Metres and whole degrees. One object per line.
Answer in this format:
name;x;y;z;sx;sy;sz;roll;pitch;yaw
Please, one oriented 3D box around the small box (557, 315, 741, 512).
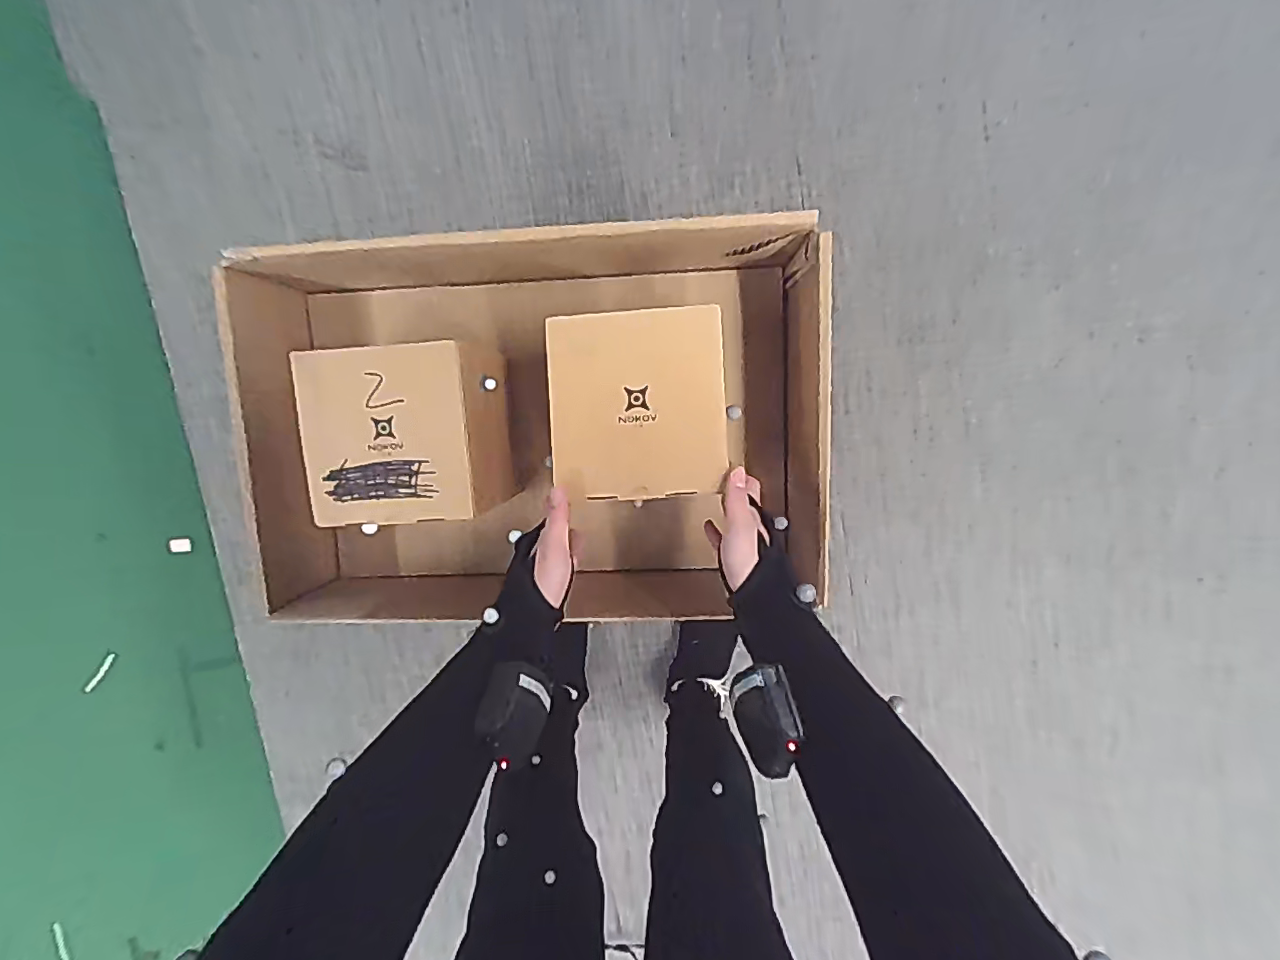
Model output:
small box;0.011;-0.059;0.569;0.168;0.176;0.179;-3;90;4
